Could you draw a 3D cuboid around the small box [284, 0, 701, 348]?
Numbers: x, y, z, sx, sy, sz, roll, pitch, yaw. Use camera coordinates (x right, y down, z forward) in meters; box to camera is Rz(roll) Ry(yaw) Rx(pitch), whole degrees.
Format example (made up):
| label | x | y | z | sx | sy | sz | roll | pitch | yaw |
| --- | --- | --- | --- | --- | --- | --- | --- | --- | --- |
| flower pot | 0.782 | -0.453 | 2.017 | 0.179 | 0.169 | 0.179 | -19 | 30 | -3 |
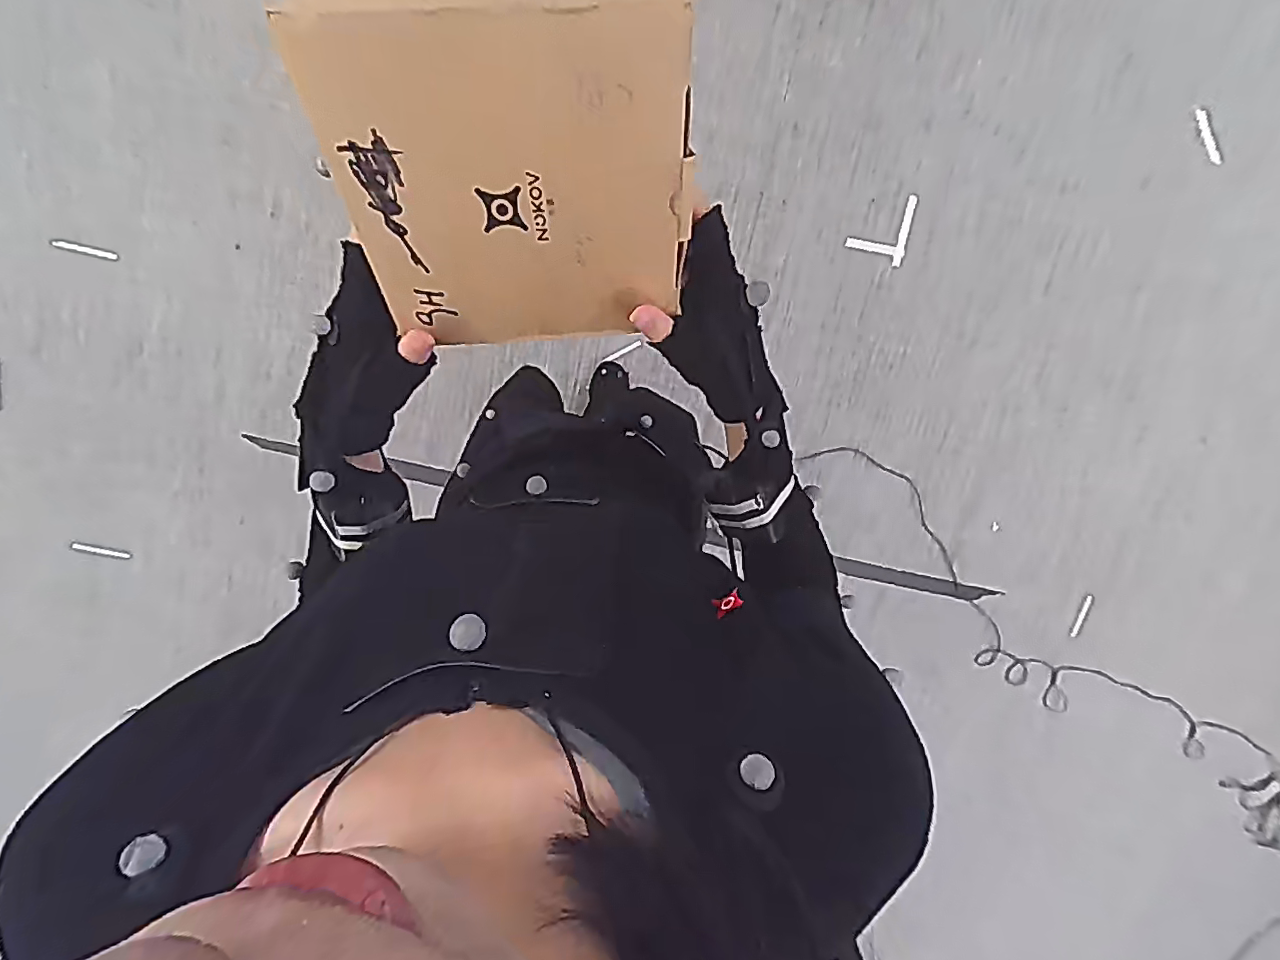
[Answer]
| label | x | y | z | sx | sy | sz | roll | pitch | yaw |
| --- | --- | --- | --- | --- | --- | --- | --- | --- | --- |
| small box | -0.070 | -0.204 | 0.334 | 0.179 | 0.176 | 0.168 | -4 | 142 | -4 |
